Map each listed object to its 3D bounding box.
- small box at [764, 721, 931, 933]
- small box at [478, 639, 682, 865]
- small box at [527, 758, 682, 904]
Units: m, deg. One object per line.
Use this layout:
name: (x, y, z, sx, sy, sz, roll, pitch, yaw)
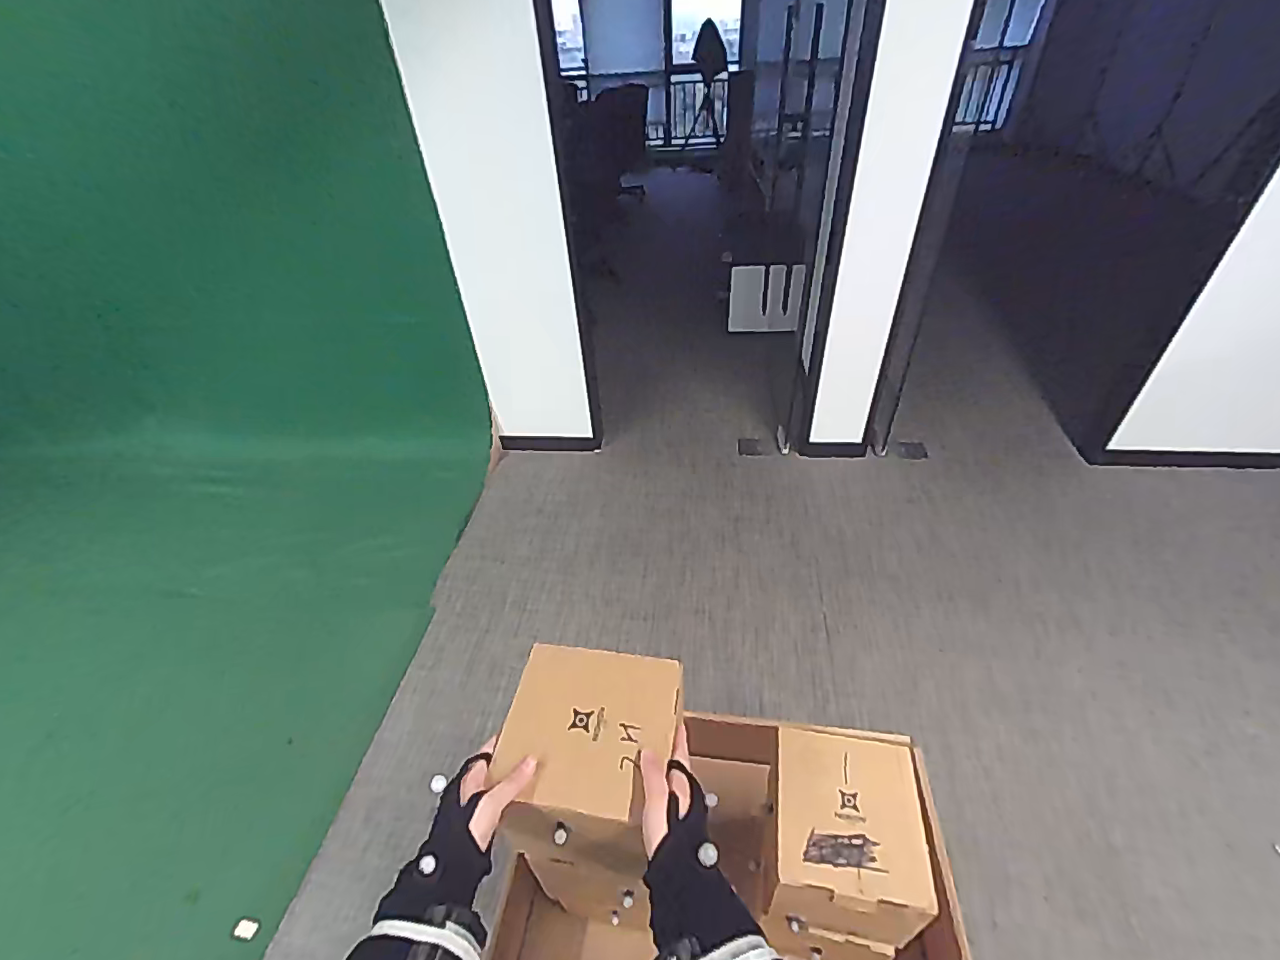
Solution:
small box: (0.251, 0.444, 0.695, 0.168, 0.176, 0.179, 5, 40, 11)
small box: (-0.050, 0.304, 0.607, 0.179, 0.176, 0.168, 5, 43, 10)
small box: (-0.034, 0.440, 0.732, 0.168, 0.176, 0.179, 3, 40, 9)
